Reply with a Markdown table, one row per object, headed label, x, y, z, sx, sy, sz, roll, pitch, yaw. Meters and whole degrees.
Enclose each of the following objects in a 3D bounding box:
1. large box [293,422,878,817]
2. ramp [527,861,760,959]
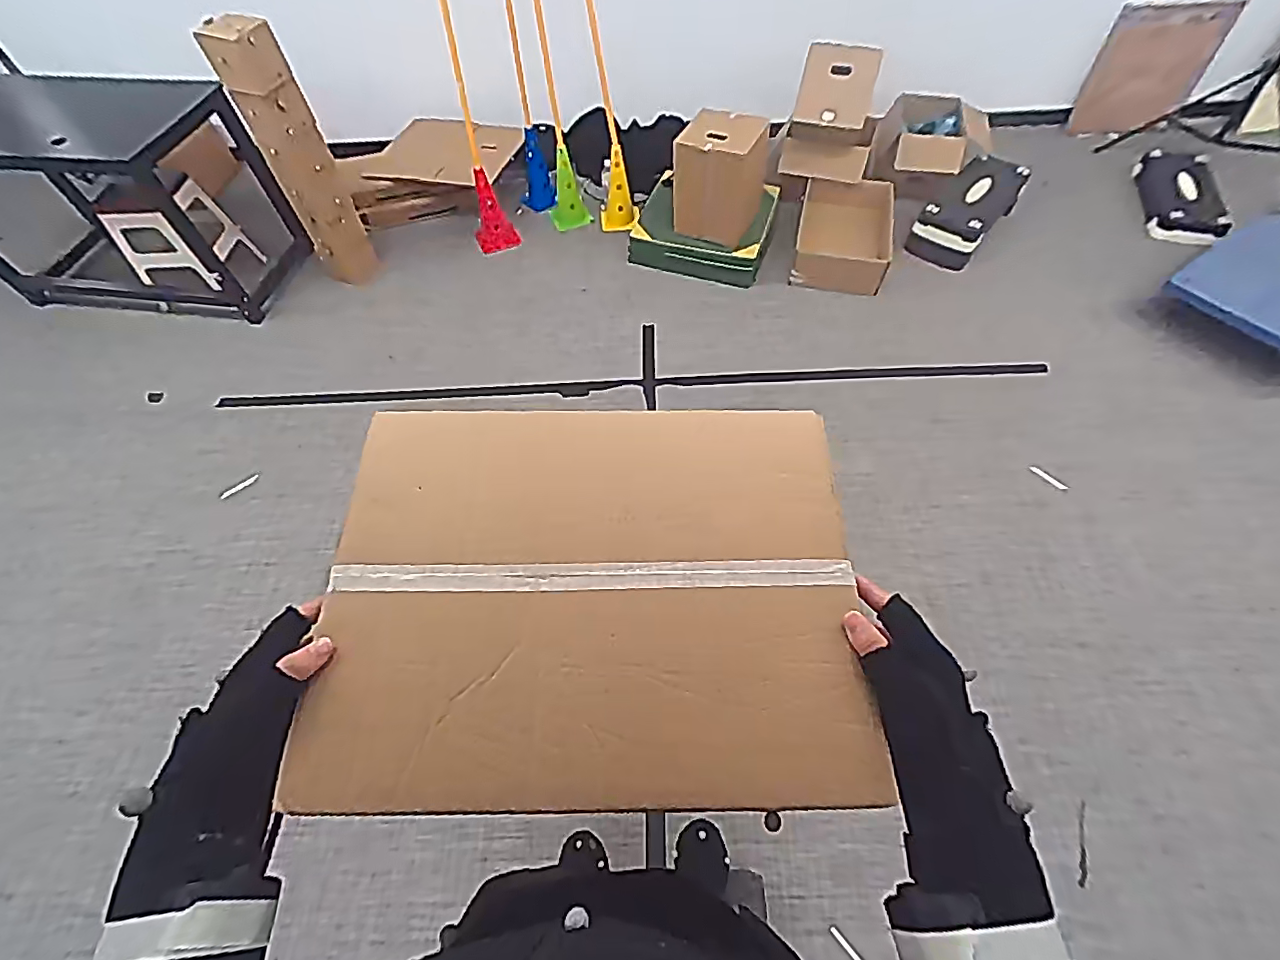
| label | x | y | z | sx | sy | sz | roll | pitch | yaw |
| --- | --- | --- | --- | --- | --- | --- | --- | --- | --- |
| large box | -0.038 | 0.151 | 0.563 | 0.408 | 0.320 | 0.320 | 0 | 62 | -1 |
| ramp | 0.013 | 1.310 | 1.004 | 0.509 | 0.206 | 0.991 | -2 | 58 | -1 |
